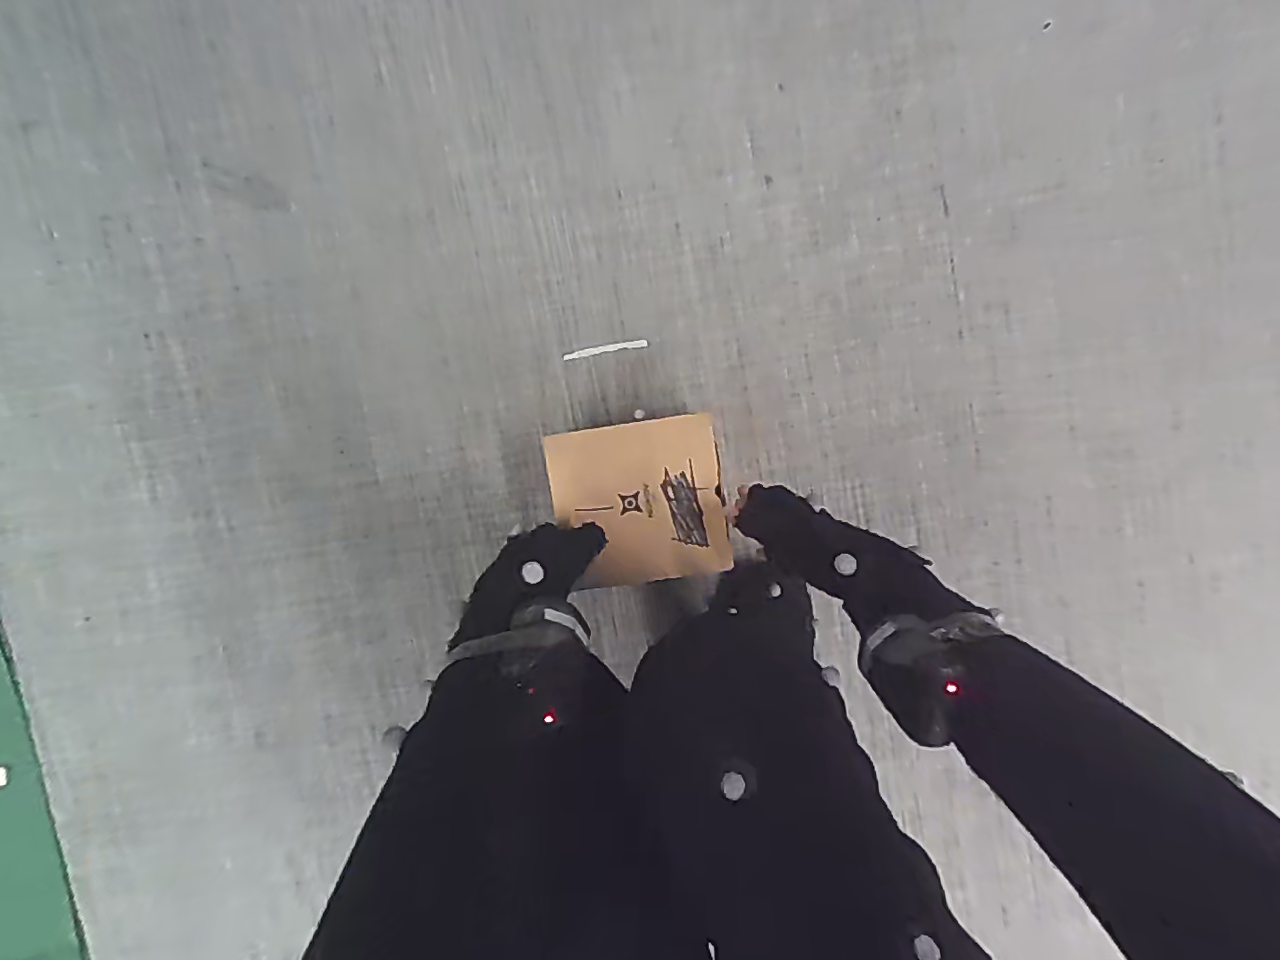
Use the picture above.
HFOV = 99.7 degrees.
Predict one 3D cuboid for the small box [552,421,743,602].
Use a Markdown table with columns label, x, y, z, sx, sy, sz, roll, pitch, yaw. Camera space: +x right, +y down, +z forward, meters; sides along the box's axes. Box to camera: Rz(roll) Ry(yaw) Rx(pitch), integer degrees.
| label | x | y | z | sx | sy | sz | roll | pitch | yaw |
| --- | --- | --- | --- | --- | --- | --- | --- | --- | --- |
| small box | 0.008 | 0.025 | 0.637 | 0.179 | 0.176 | 0.168 | -12 | 94 | 1 |
